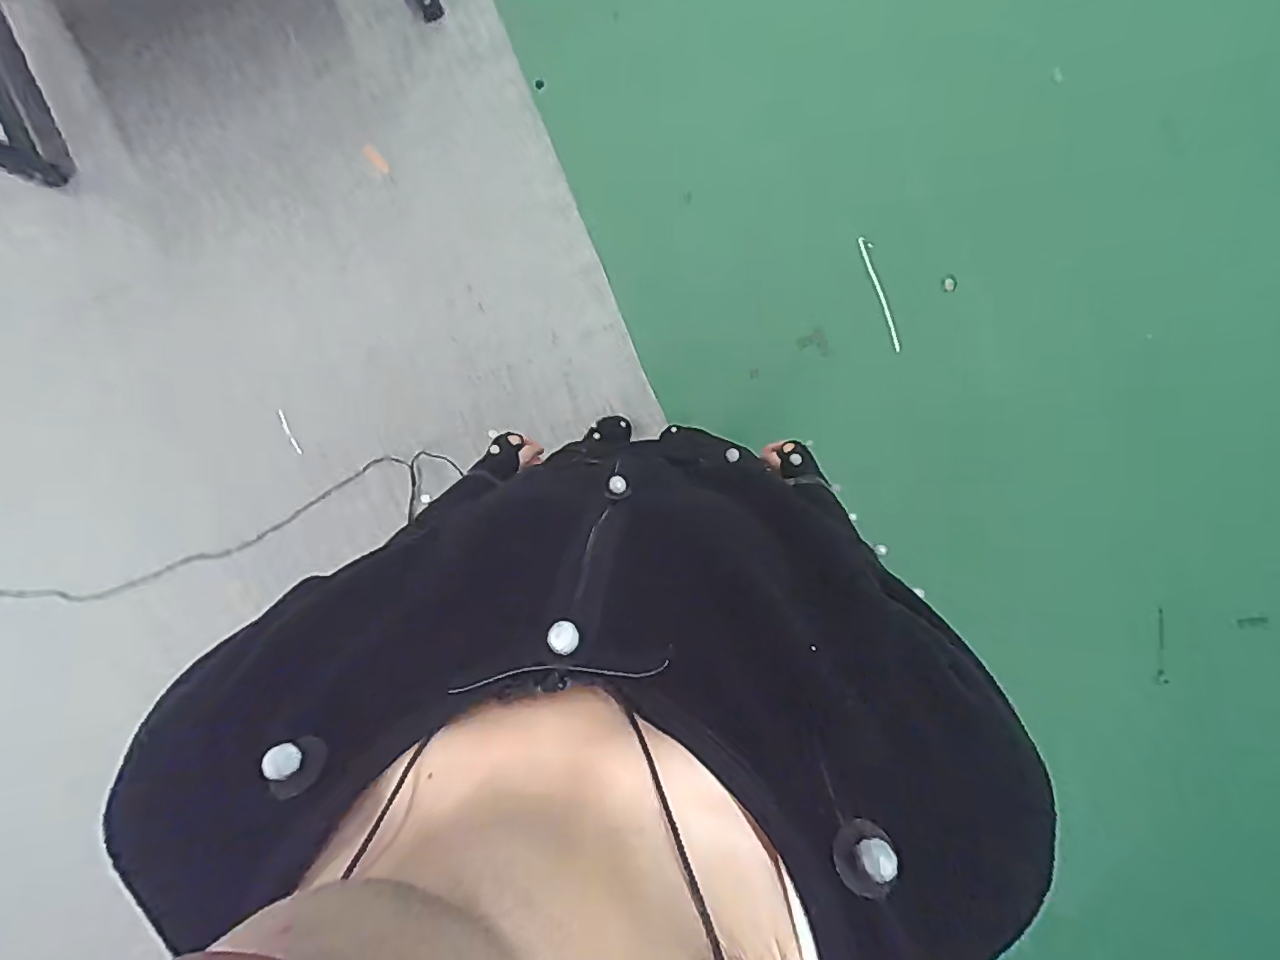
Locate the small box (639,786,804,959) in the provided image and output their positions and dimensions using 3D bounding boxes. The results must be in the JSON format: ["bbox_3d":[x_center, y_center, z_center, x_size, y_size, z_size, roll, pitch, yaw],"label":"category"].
[{"bbox_3d":[0.119,0.625,0.832,0.179,0.176,0.168,-36,93,6],"label":"small box"}]
